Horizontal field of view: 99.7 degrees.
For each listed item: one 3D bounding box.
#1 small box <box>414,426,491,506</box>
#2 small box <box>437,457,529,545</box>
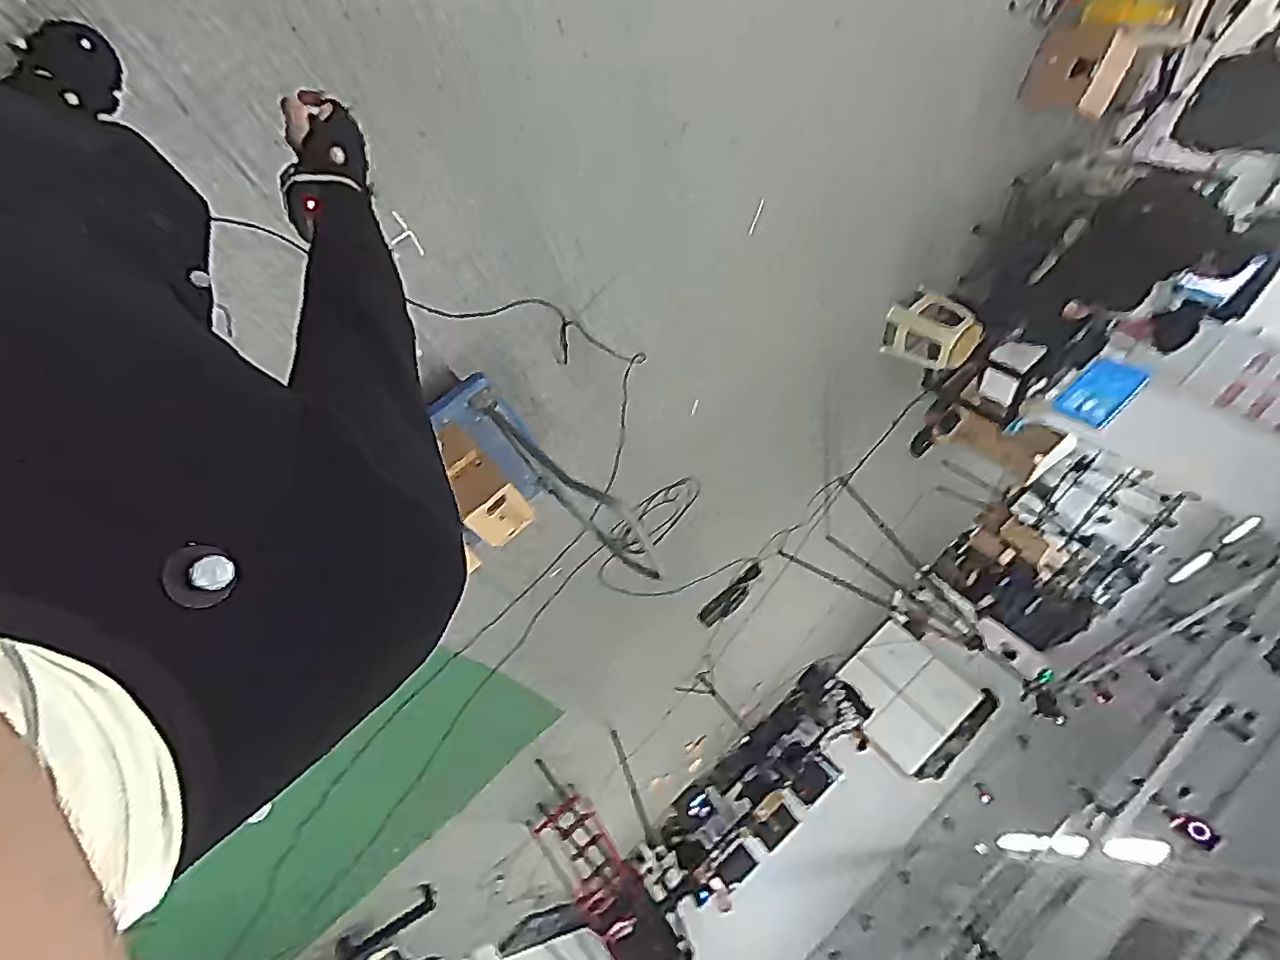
[{"bbox_3d":[-0.580,-0.051,1.684,0.179,0.176,0.168,-21,135,-34],"label":"small box"},{"bbox_3d":[-0.468,0.056,1.605,0.168,0.176,0.179,-40,145,-10],"label":"small box"}]
